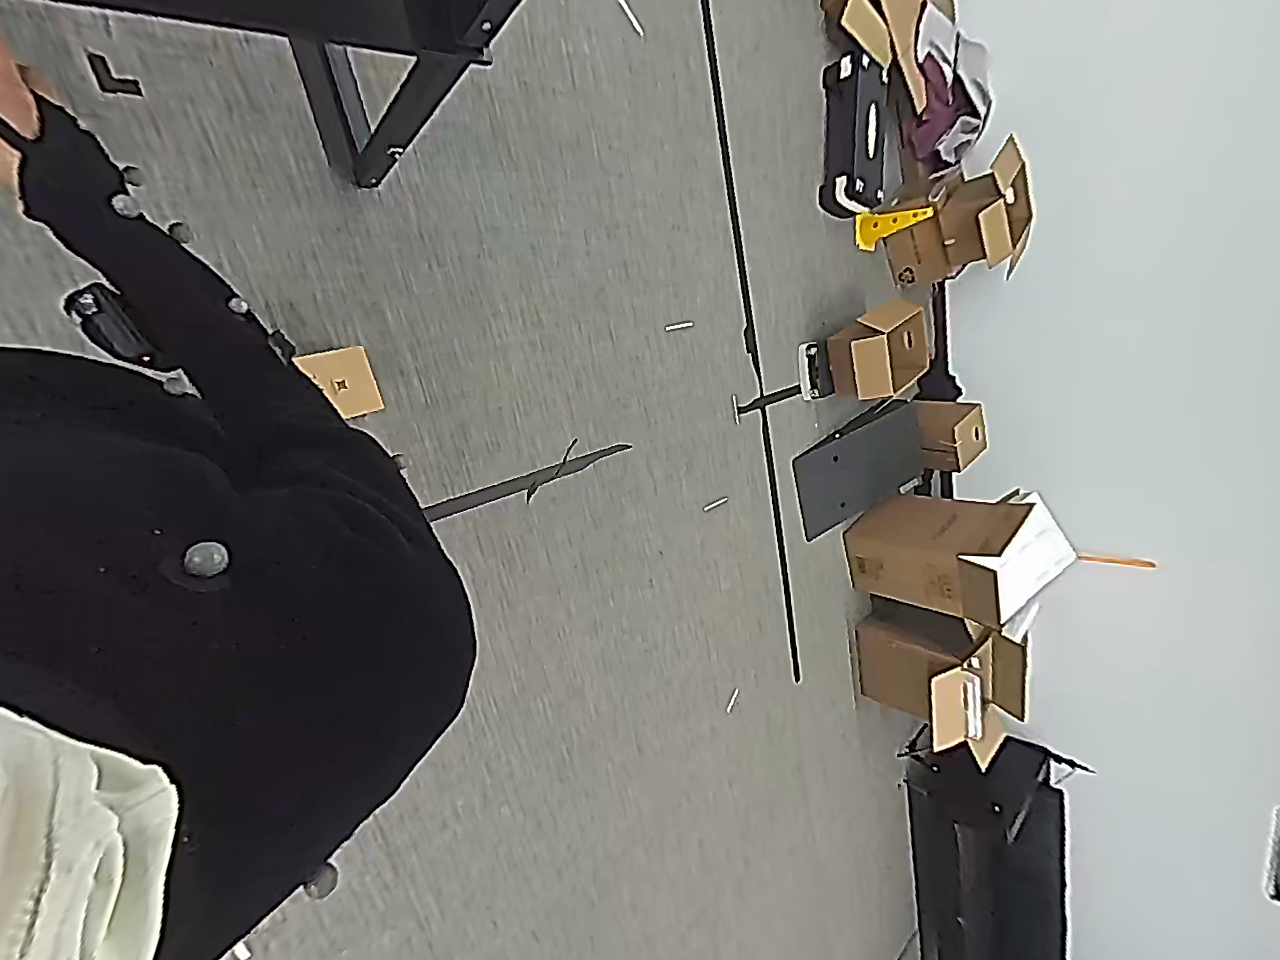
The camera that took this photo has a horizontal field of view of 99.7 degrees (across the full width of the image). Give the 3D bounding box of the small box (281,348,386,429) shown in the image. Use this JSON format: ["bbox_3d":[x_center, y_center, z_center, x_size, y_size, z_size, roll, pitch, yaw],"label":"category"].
[{"bbox_3d":[-0.782,-0.235,1.376,0.179,0.176,0.168,-24,110,-34],"label":"small box"}]
